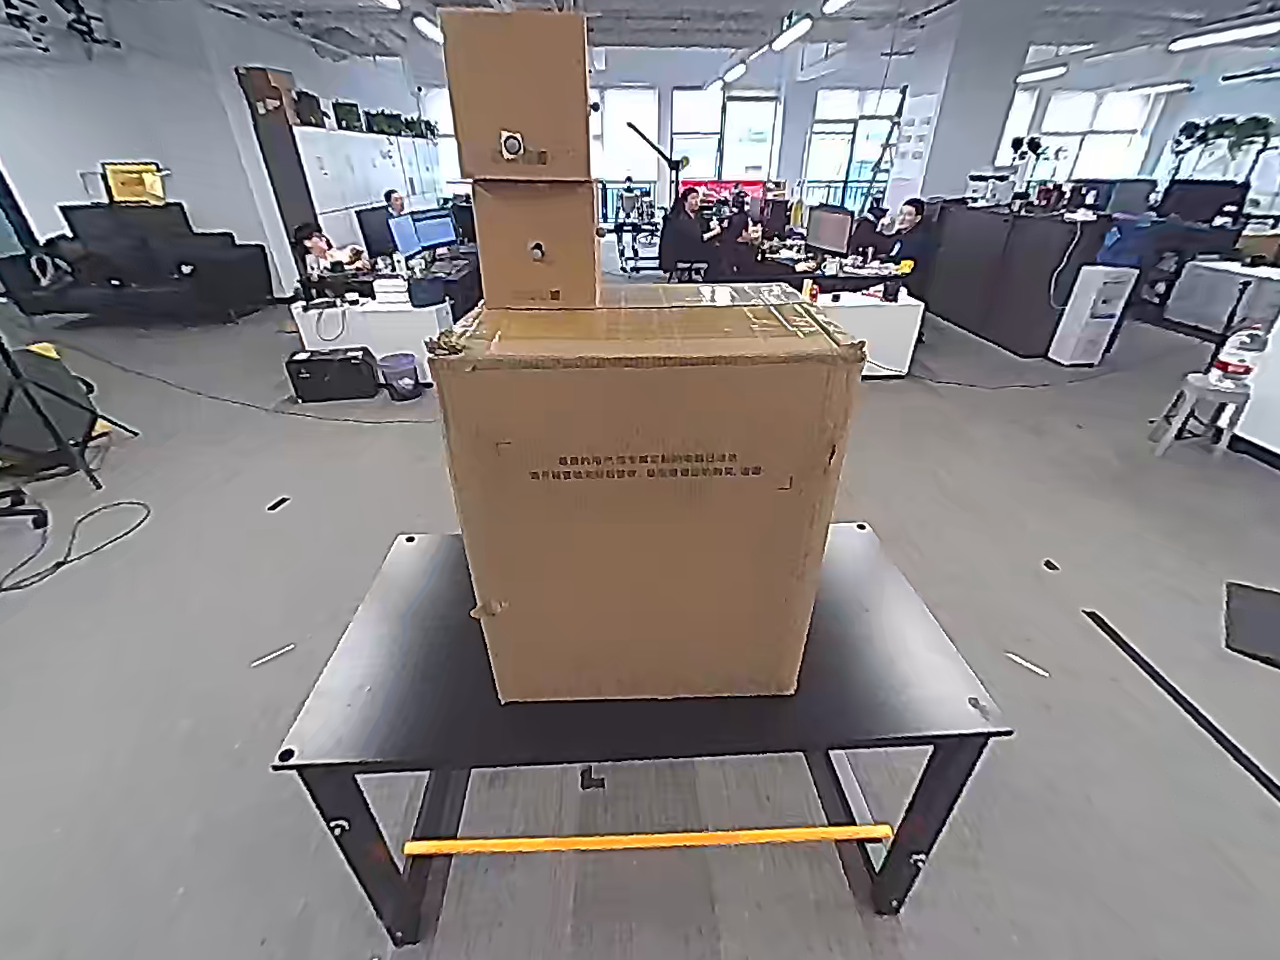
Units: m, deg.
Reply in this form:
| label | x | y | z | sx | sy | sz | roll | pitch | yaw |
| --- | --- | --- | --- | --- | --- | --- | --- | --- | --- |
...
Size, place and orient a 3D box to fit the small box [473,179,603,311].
| label | x | y | z | sx | sy | sz | roll | pitch | yaw |
| --- | --- | --- | --- | --- | --- | --- | --- | --- | --- |
| small box | -0.141 | -0.358 | 0.821 | 0.168 | 0.176 | 0.179 | 0 | 30 | -2 |

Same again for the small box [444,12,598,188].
| label | x | y | z | sx | sy | sz | roll | pitch | yaw |
| --- | --- | --- | --- | --- | --- | --- | --- | --- | --- |
| small box | -0.143 | -0.483 | 0.710 | 0.168 | 0.176 | 0.179 | -3 | 30 | -4 |
